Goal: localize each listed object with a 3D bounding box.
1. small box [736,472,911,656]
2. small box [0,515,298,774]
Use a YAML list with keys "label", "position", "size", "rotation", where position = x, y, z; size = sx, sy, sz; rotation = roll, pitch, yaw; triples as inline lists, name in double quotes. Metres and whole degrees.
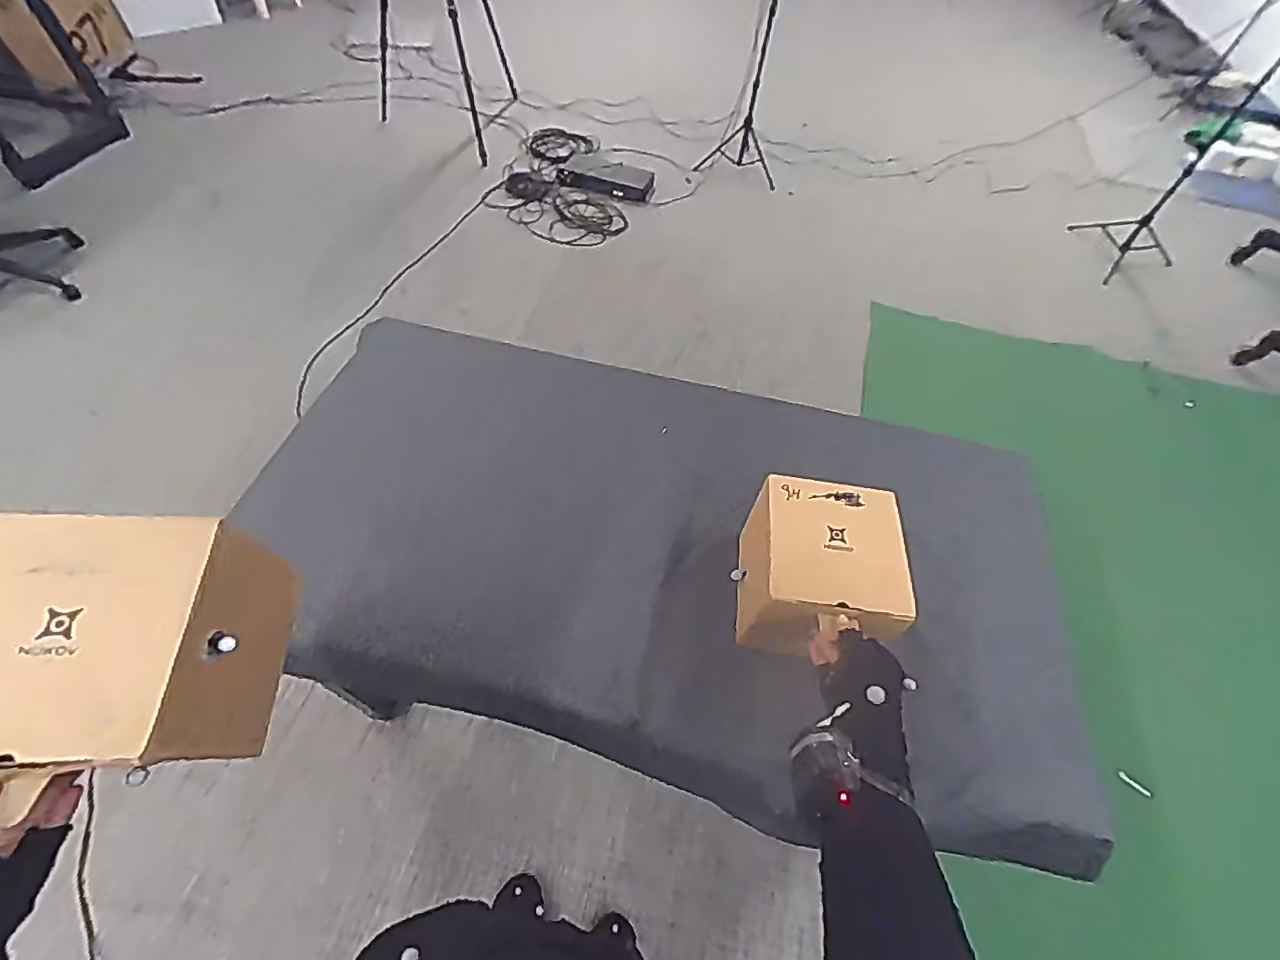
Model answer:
- label: "small box"
  position: [0.227, 0.117, 0.712]
  size: [0.168, 0.176, 0.179]
  rotation: [9, 56, 0]
- label: "small box"
  position: [-0.418, 0.142, 0.450]
  size: [0.168, 0.176, 0.179]
  rotation: [2, 64, -9]
